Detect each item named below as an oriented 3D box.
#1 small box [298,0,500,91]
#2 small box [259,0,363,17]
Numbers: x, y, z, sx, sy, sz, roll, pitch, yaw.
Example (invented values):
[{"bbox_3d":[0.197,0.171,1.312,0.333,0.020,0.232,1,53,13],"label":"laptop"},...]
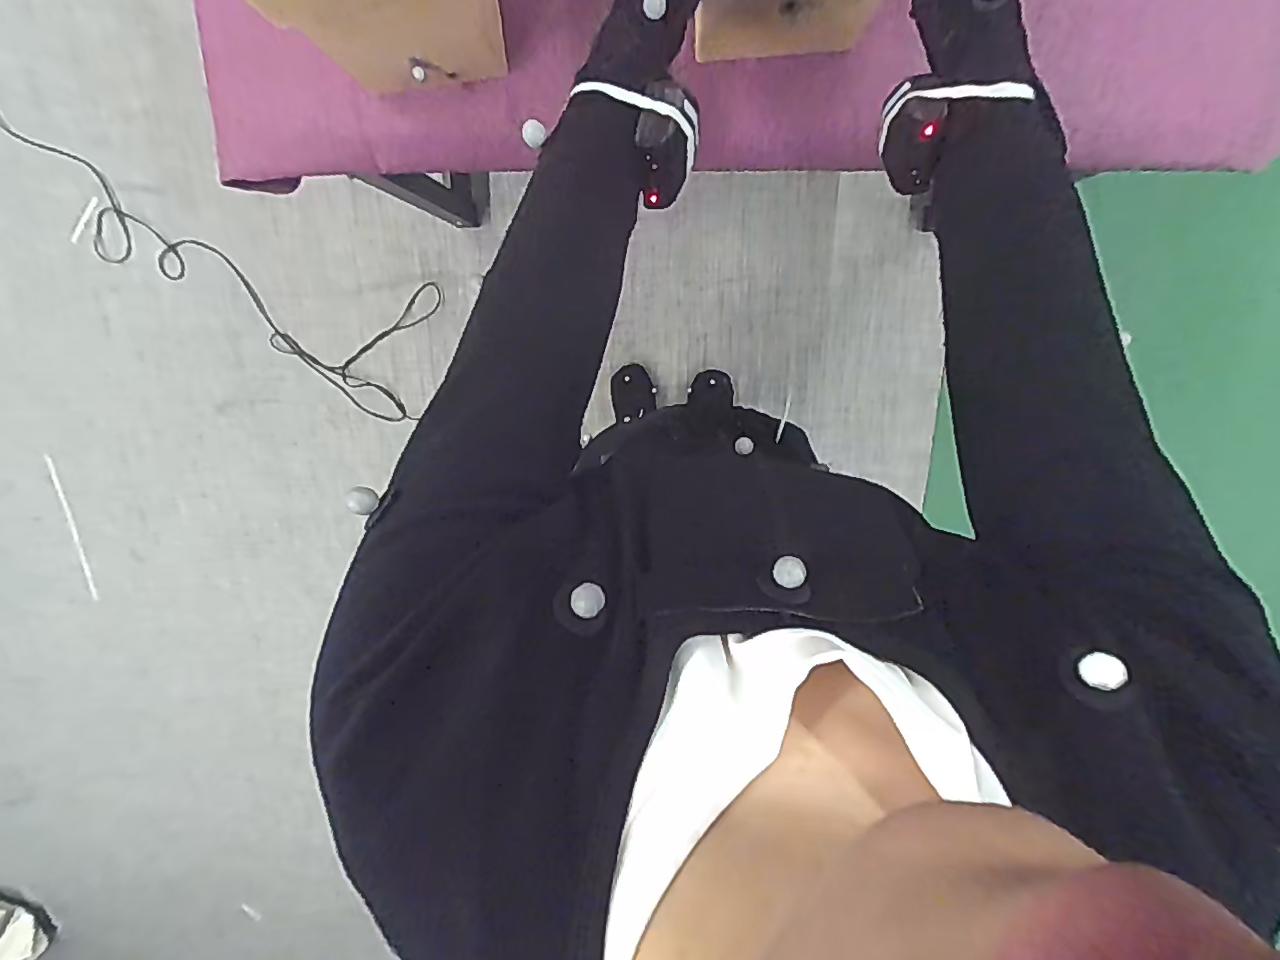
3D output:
[{"bbox_3d":[-0.248,-0.523,0.527,0.168,0.176,0.179,-4,104,3],"label":"small box"},{"bbox_3d":[-0.251,-0.473,0.372,0.179,0.176,0.168,-9,104,5],"label":"small box"}]
